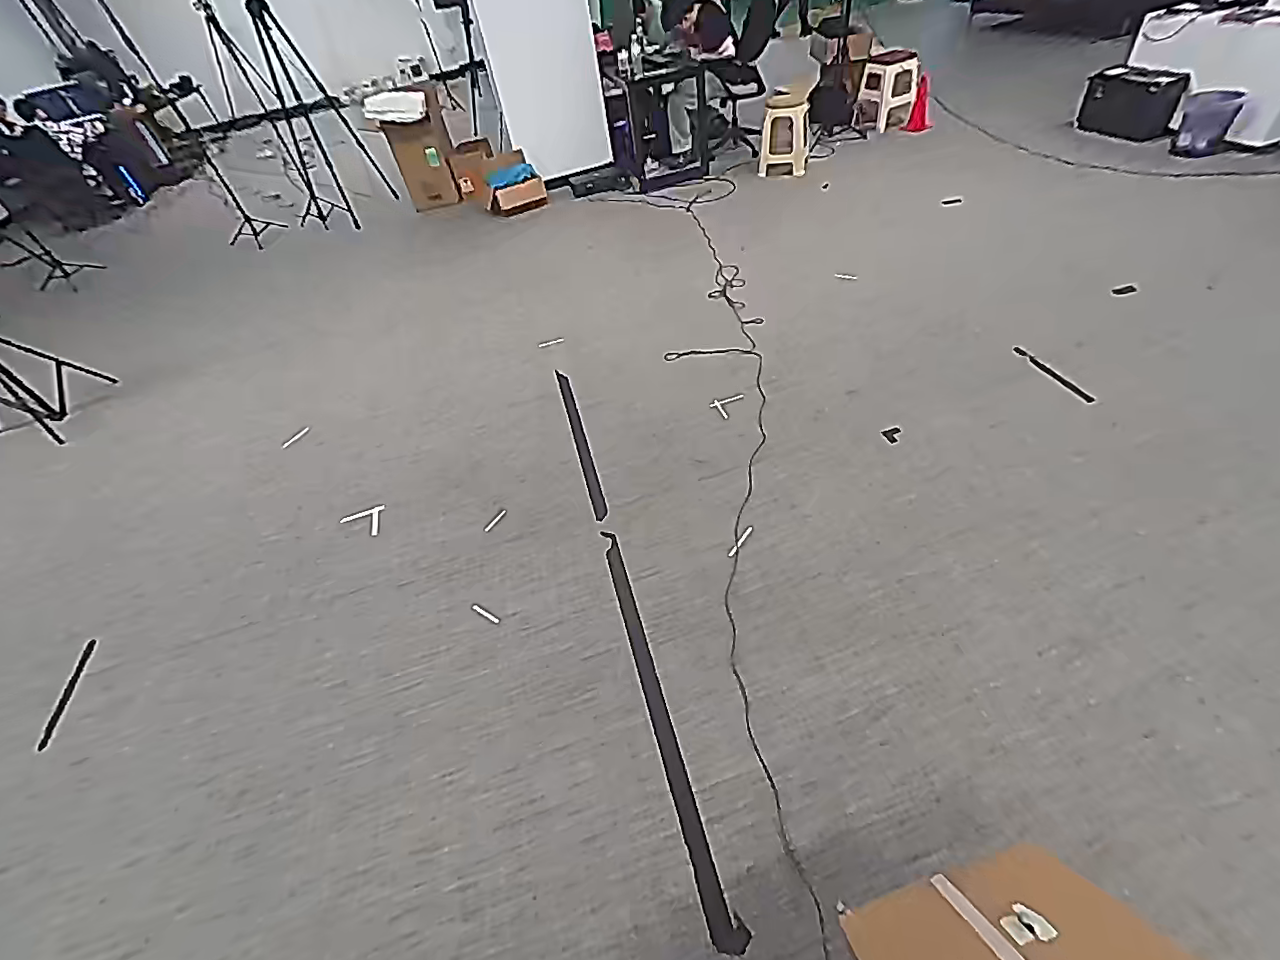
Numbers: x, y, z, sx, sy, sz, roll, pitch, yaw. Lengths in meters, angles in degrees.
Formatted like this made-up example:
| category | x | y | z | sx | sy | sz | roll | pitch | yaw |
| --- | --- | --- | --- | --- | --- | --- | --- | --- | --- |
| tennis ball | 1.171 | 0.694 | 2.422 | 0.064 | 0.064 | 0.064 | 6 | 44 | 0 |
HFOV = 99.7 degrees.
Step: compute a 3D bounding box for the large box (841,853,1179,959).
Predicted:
| category | x | y | z | sx | sy | sz | roll | pitch | yaw |
| --- | --- | --- | --- | --- | --- | --- | --- | --- | --- |
| large box | 0.485 | 0.707 | 0.575 | 0.320 | 0.408 | 0.320 | -17 | 81 | -3 |
